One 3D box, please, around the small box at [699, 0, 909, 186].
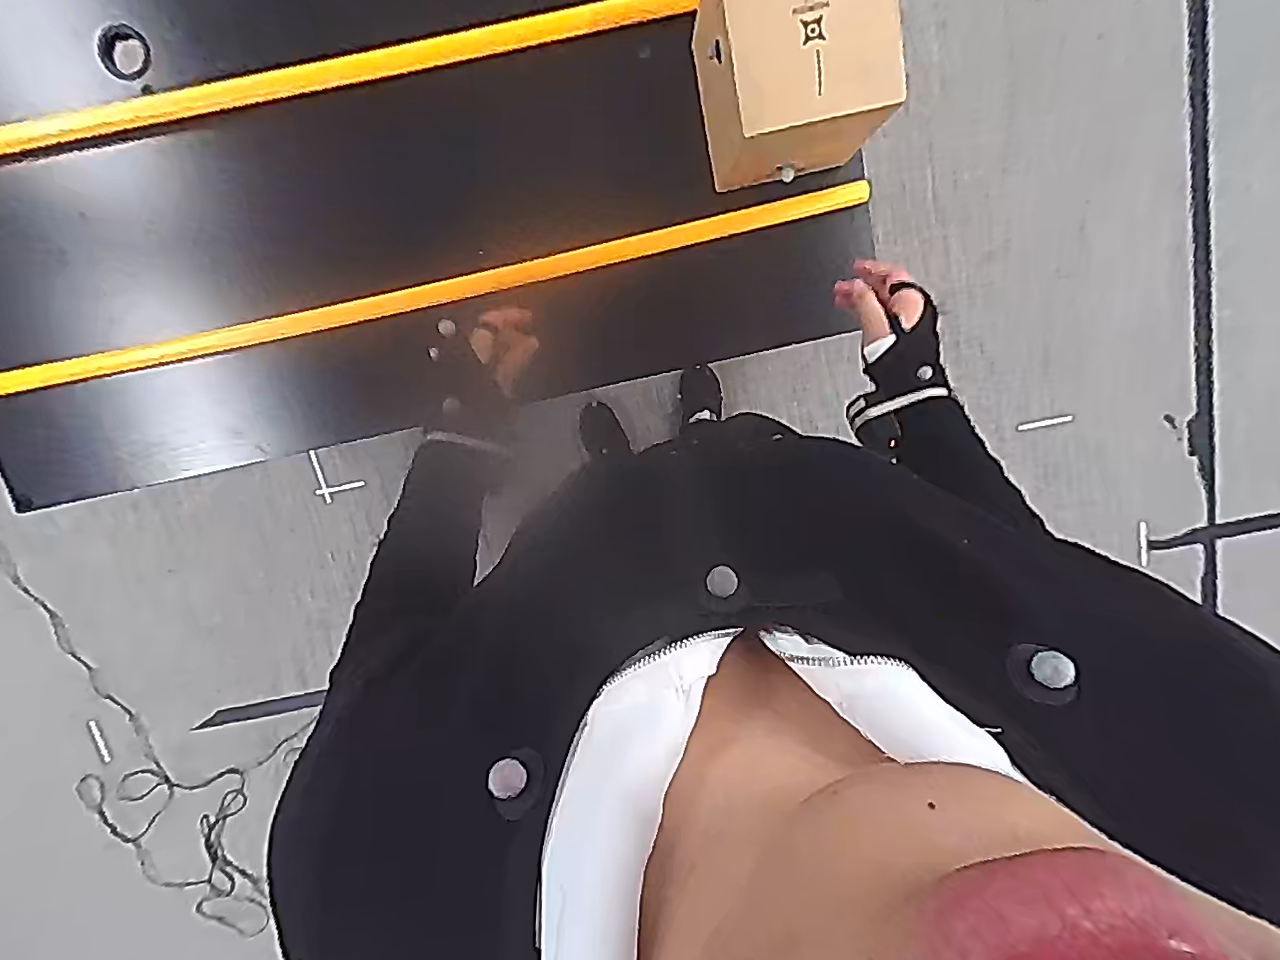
[{"bbox_3d":[0.166,-0.456,0.593,0.168,0.176,0.179,-11,101,1],"label":"small box"}]
